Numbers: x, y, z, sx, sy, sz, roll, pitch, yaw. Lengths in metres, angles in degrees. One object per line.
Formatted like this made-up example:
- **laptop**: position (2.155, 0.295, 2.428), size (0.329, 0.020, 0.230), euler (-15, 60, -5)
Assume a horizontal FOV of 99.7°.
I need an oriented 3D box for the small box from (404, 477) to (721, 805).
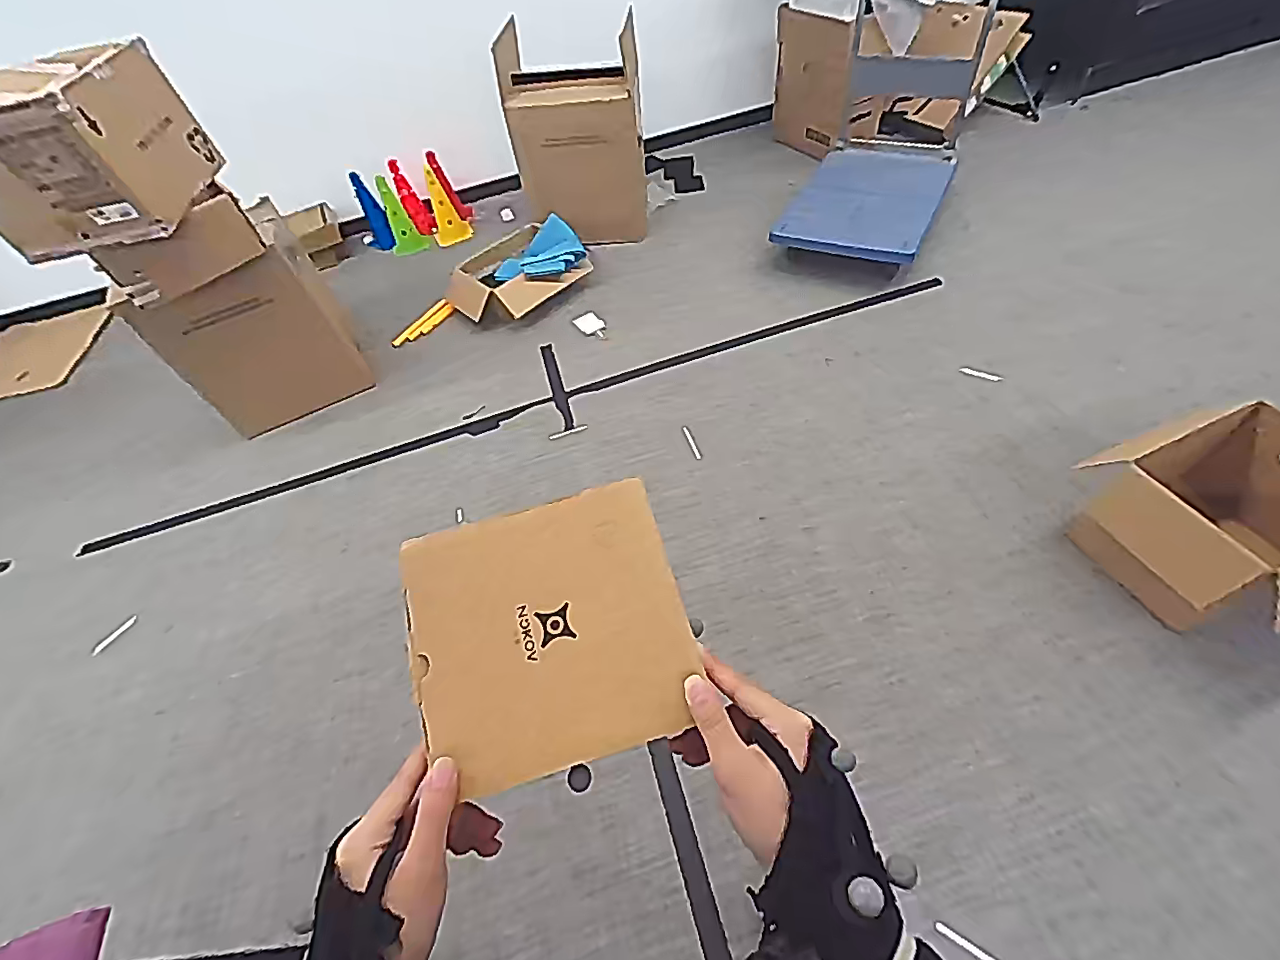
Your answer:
- **small box**: position (-0.053, 0.121, 0.419), size (0.179, 0.176, 0.168), euler (-17, 68, -4)
